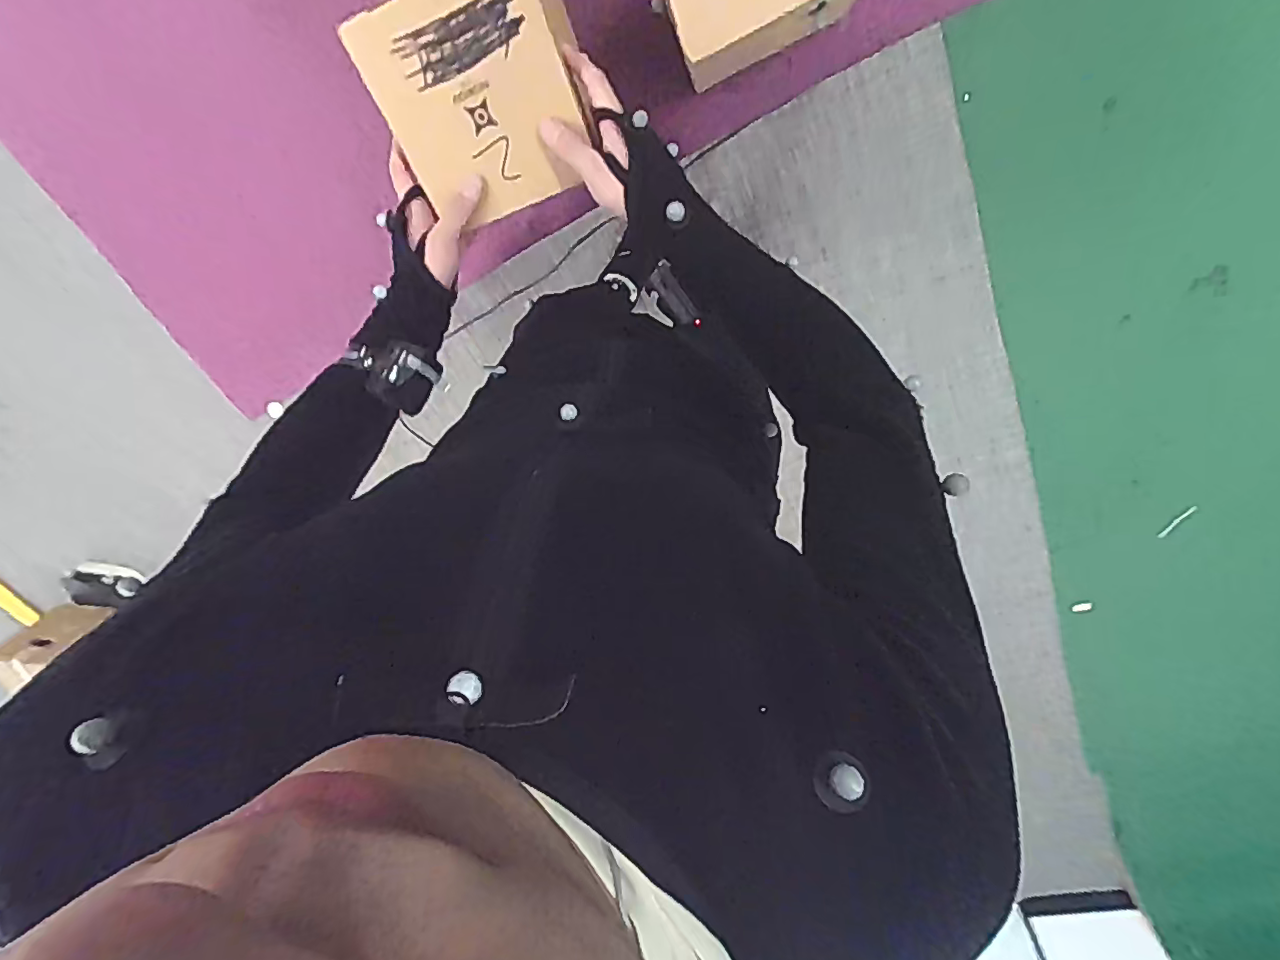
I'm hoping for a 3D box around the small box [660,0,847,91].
[{"bbox_3d":[0.099,-0.513,0.519,0.179,0.176,0.168,-17,114,18],"label":"small box"}]
